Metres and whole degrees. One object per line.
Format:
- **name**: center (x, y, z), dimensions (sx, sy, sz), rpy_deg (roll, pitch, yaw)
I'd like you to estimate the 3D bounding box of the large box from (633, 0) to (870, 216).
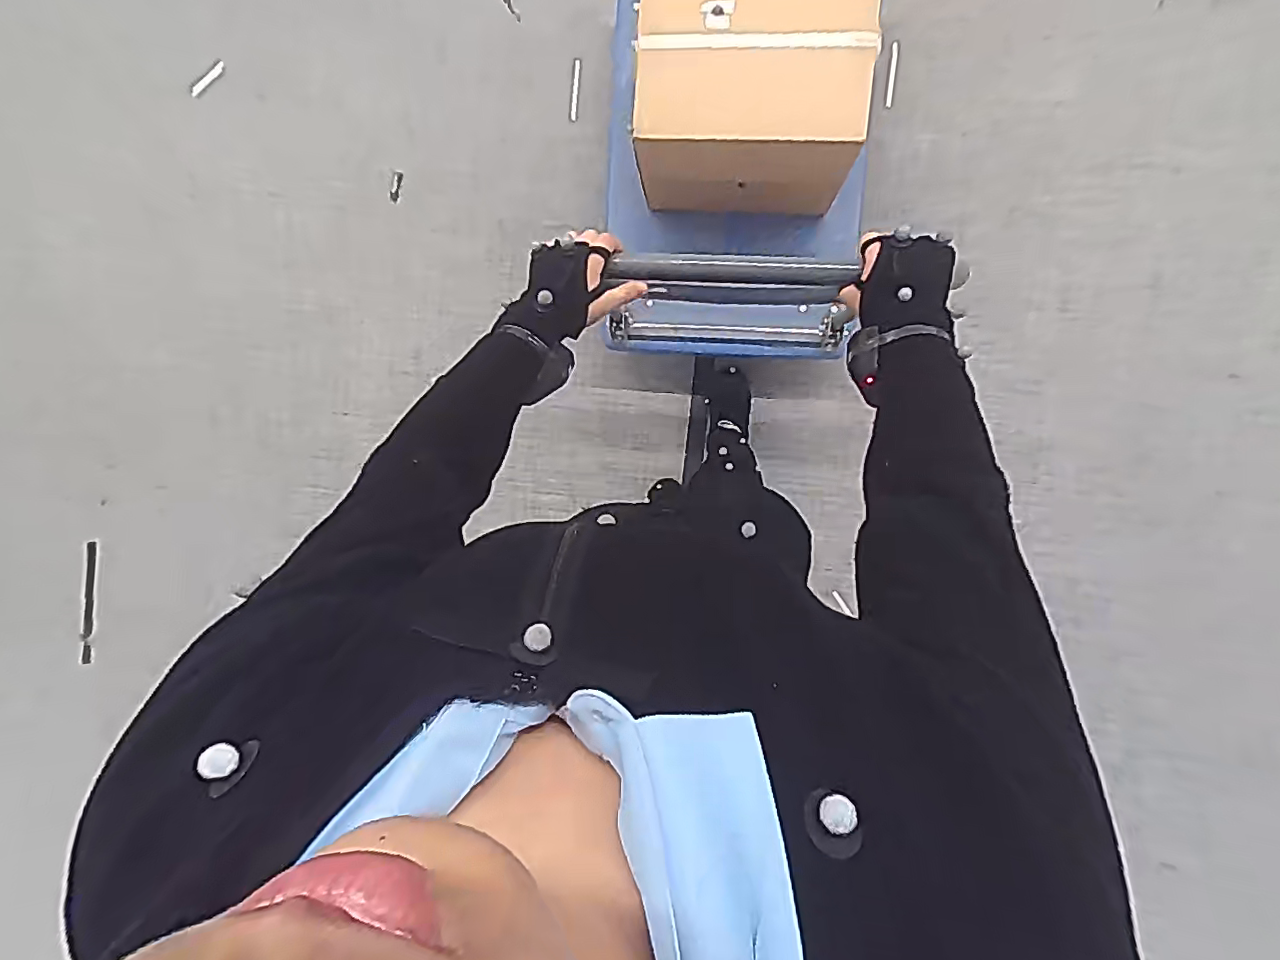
- **large box**: center (0.213, -0.754, 1.097), dimensions (0.408, 0.320, 0.320), rpy_deg (4, 94, 7)
